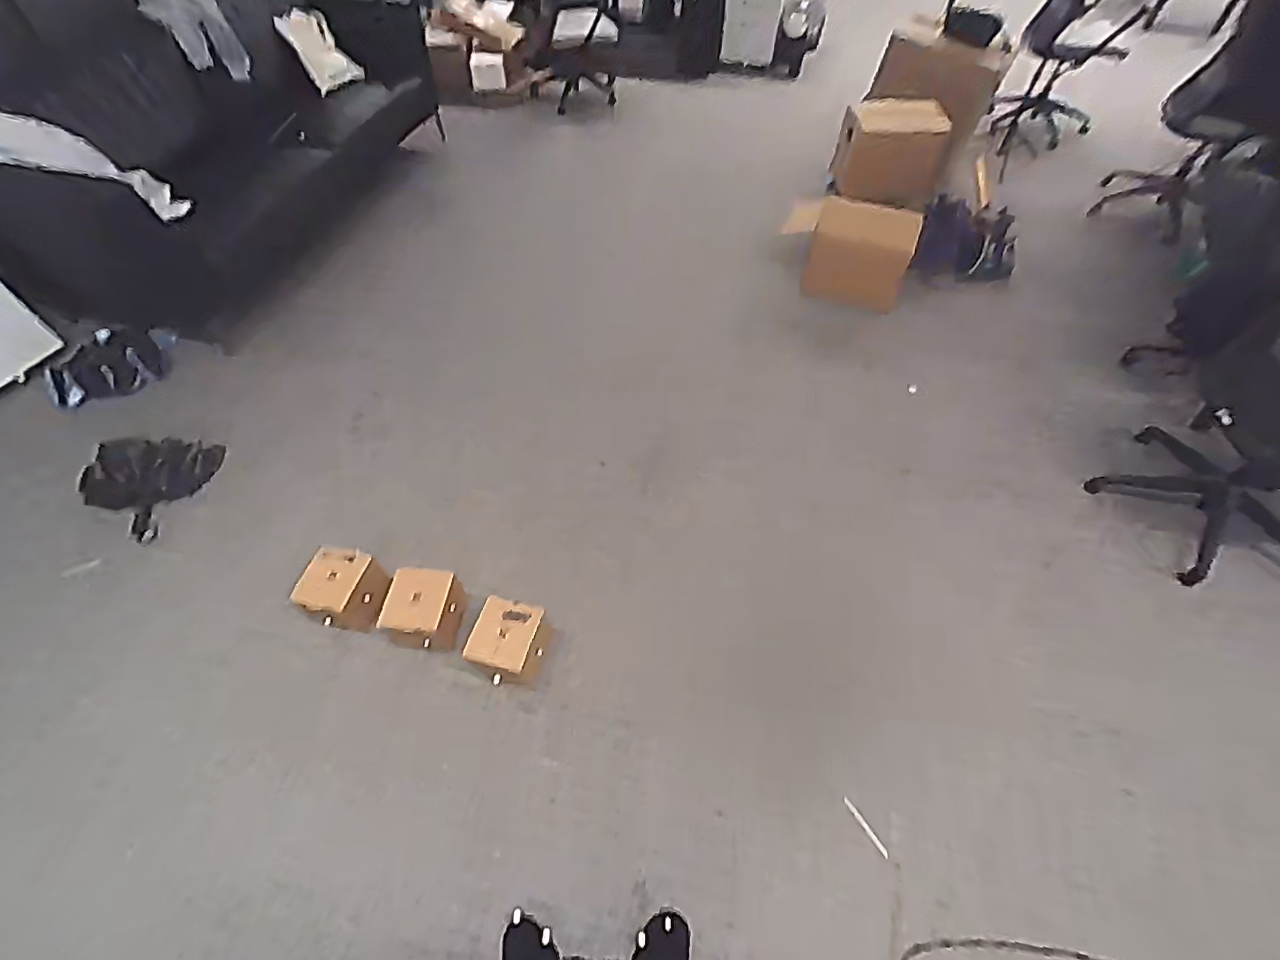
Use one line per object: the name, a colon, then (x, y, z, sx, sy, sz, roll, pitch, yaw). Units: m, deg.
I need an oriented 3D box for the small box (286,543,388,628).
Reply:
small box: (-0.864, 0.309, 1.566, 0.168, 0.176, 0.179, 10, 55, 8)

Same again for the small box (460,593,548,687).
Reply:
small box: (-0.360, 0.438, 1.471, 0.168, 0.176, 0.179, 13, 55, 10)

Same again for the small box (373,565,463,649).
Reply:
small box: (-0.616, 0.363, 1.530, 0.168, 0.176, 0.179, 5, 52, 2)
